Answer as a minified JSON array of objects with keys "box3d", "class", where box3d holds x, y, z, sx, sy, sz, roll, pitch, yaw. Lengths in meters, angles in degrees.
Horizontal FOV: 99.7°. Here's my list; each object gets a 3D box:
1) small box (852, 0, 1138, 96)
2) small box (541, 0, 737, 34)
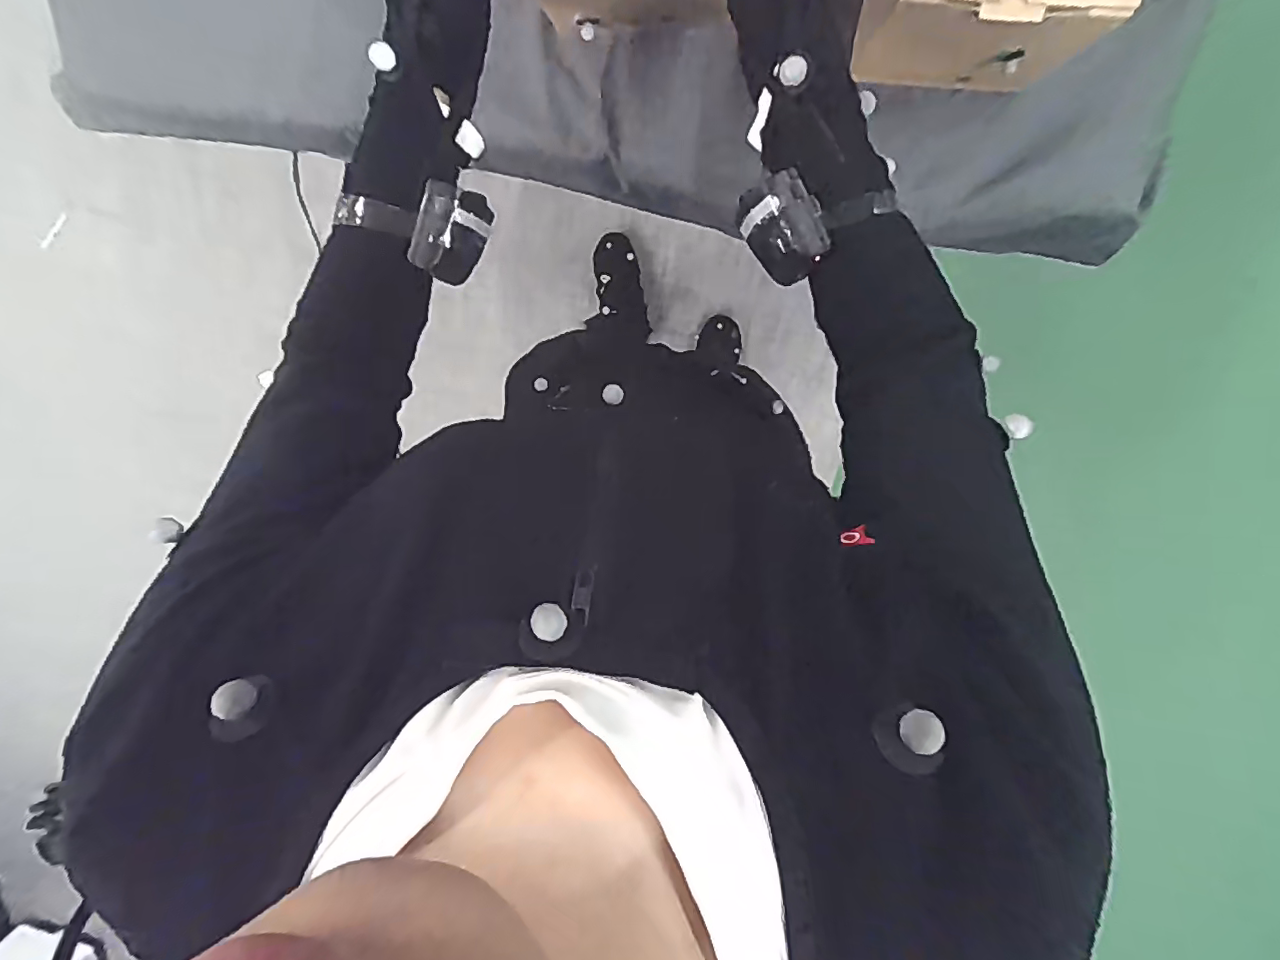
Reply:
[{"box3d":[0.284,-0.438,0.435,0.168,0.176,0.179,7,109,5],"class":"small box"},{"box3d":[-0.006,-0.462,0.396,0.168,0.176,0.179,1,110,7],"class":"small box"}]
